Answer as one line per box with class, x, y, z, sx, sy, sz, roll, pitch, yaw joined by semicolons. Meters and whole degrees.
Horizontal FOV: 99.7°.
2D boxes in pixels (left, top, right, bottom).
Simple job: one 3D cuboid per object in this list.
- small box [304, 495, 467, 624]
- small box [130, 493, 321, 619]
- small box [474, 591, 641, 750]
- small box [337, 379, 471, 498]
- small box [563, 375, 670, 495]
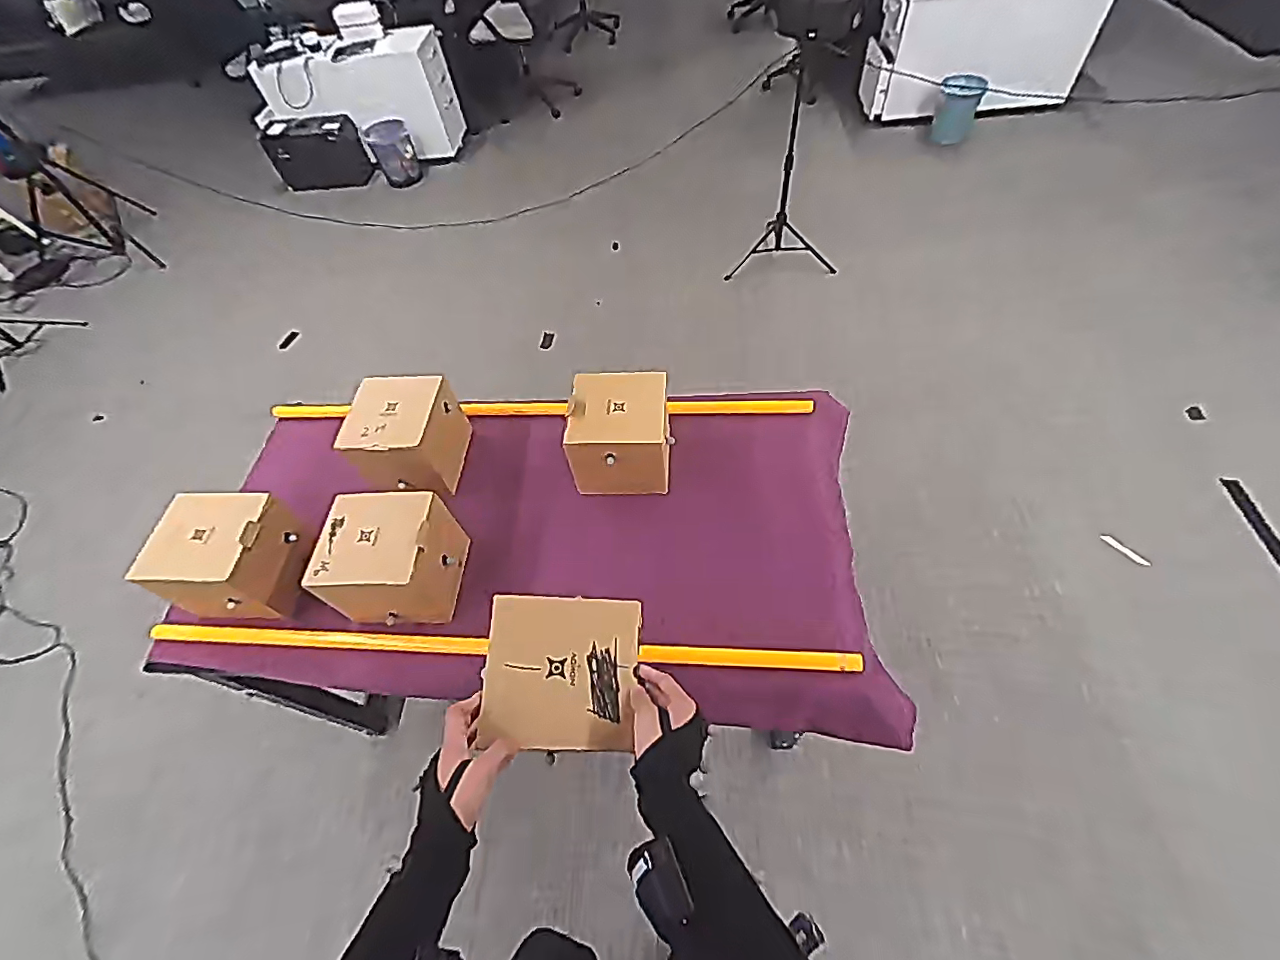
small box;-0.415;0.139;0.922;0.179;0.176;0.168;-1;55;5
small box;-0.709;0.137;0.954;0.179;0.176;0.168;0;55;4
small box;-0.098;0.246;0.683;0.179;0.176;0.168;4;63;-6
small box;-0.454;-0.081;1.077;0.168;0.176;0.179;0;57;7
small box;-0.034;-0.082;1.031;0.179;0.176;0.168;0;57;7
